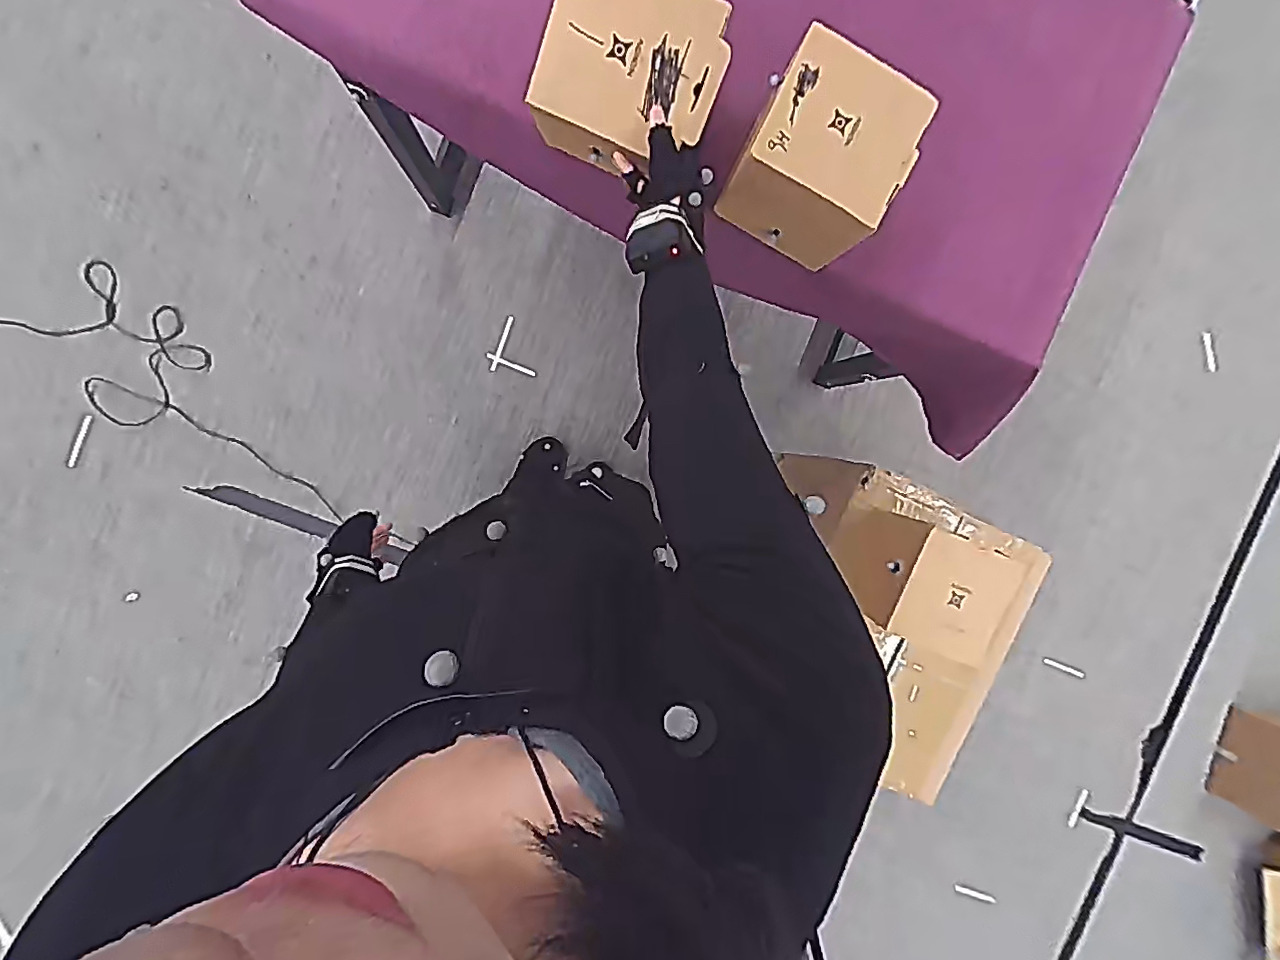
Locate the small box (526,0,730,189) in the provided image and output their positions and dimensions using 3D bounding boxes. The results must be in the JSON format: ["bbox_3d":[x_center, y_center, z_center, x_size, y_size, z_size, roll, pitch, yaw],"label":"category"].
[{"bbox_3d":[-0.015,-0.475,0.651,0.179,0.176,0.168,21,106,-6],"label":"small box"}]

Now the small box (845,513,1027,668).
[{"bbox_3d":[0.463,0.167,0.877,0.168,0.176,0.179,22,93,-5],"label":"small box"}]

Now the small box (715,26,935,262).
[{"bbox_3d":[0.224,-0.407,0.698,0.179,0.176,0.168,26,91,-9],"label":"small box"}]
